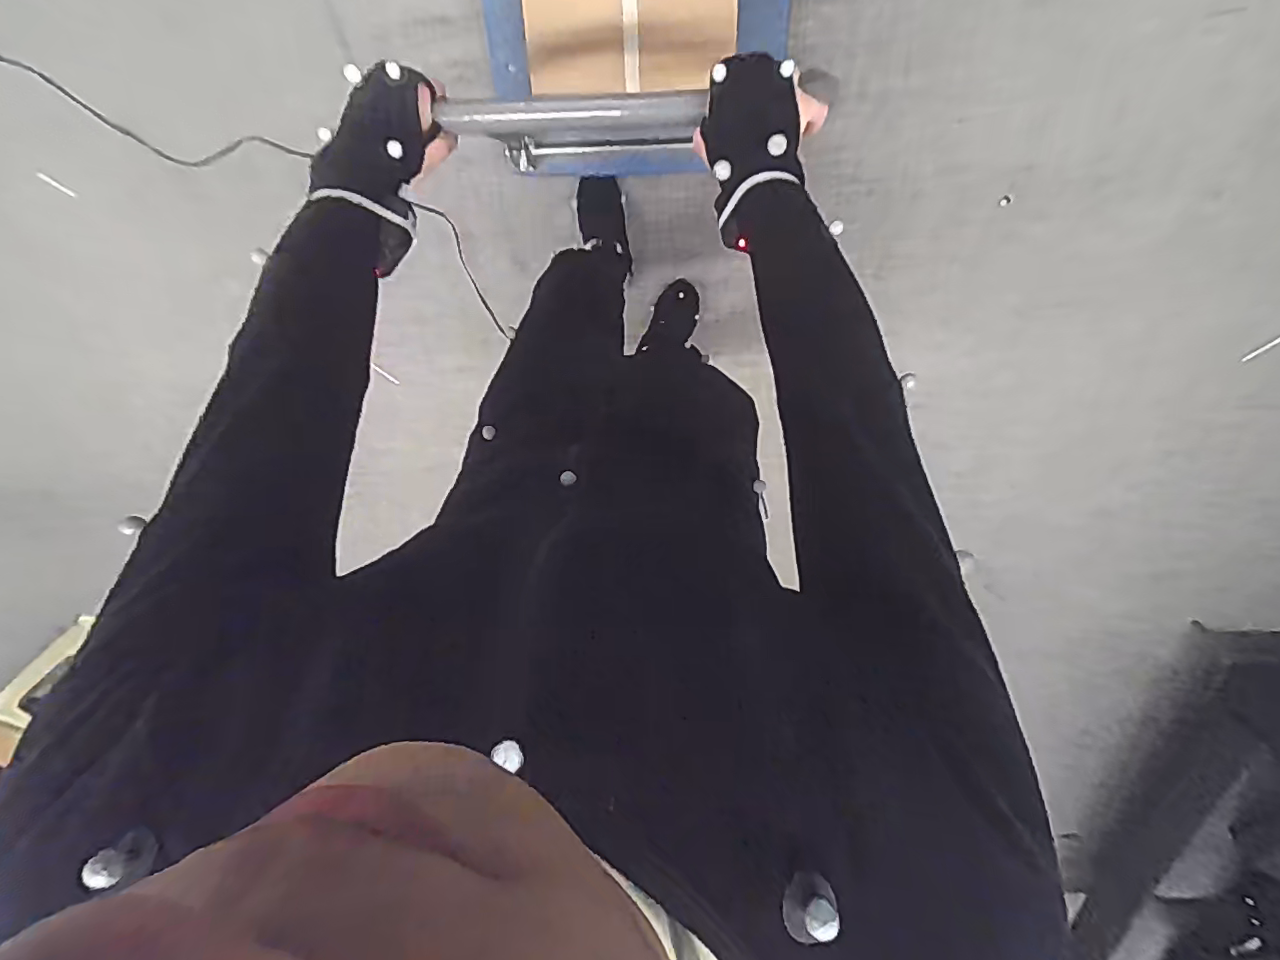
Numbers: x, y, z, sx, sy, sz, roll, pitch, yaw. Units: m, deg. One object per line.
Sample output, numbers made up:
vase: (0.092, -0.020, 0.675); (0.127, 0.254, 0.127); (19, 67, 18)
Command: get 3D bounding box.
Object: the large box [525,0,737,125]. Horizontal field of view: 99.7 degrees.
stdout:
large box: (-0.005, -0.835, 0.880); (0.320, 0.320, 0.408); (1, 120, 5)
